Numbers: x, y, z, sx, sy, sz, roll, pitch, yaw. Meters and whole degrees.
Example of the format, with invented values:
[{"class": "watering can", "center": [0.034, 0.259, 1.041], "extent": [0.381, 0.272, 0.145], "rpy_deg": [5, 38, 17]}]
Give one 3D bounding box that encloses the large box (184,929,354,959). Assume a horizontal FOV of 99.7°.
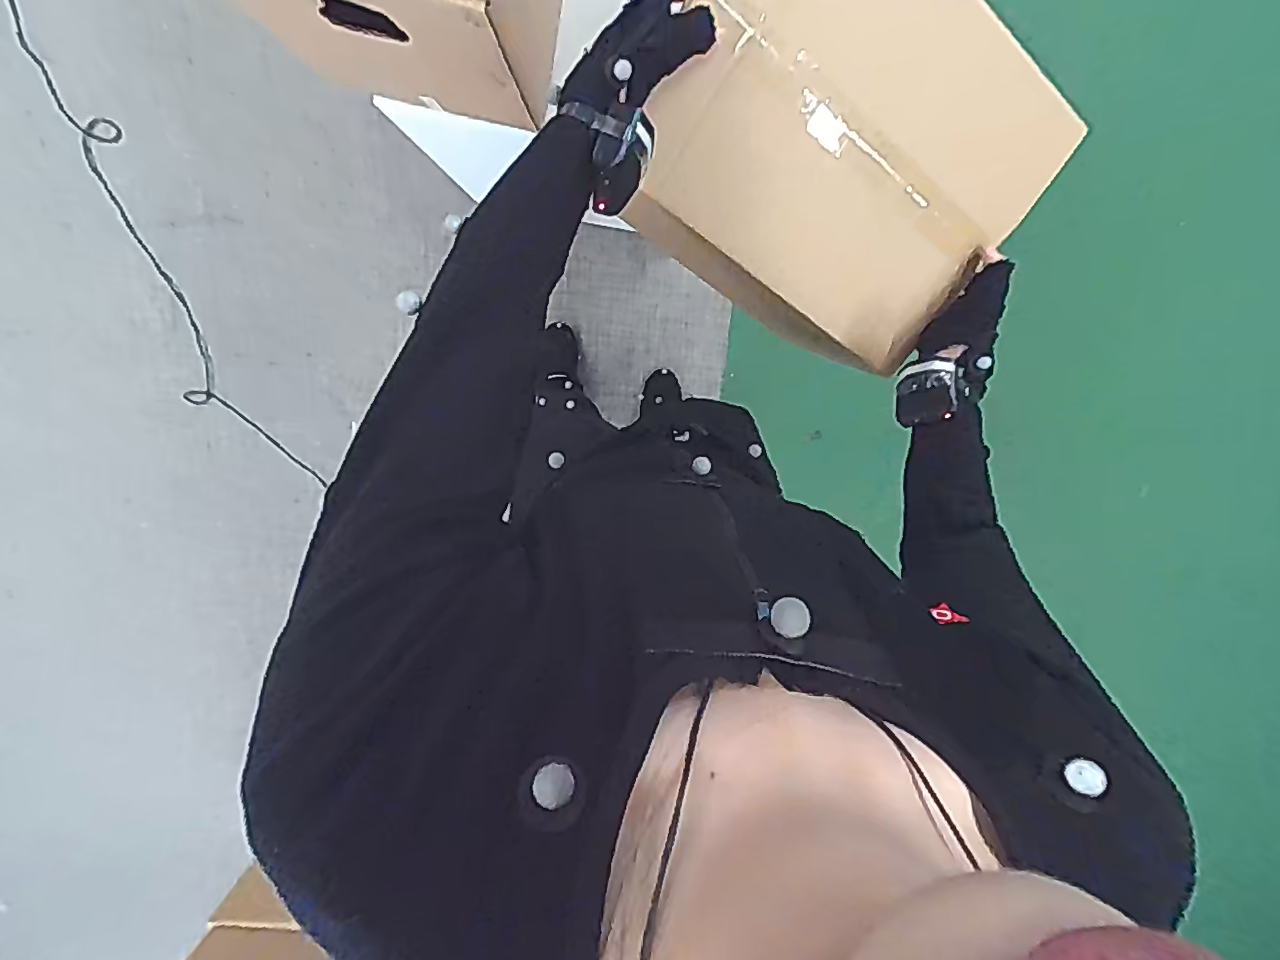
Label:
[{"class": "large box", "center": [-1.001, 1.418, 1.365], "extent": [0.408, 0.320, 0.320], "rpy_deg": [5, 99, -2]}]
